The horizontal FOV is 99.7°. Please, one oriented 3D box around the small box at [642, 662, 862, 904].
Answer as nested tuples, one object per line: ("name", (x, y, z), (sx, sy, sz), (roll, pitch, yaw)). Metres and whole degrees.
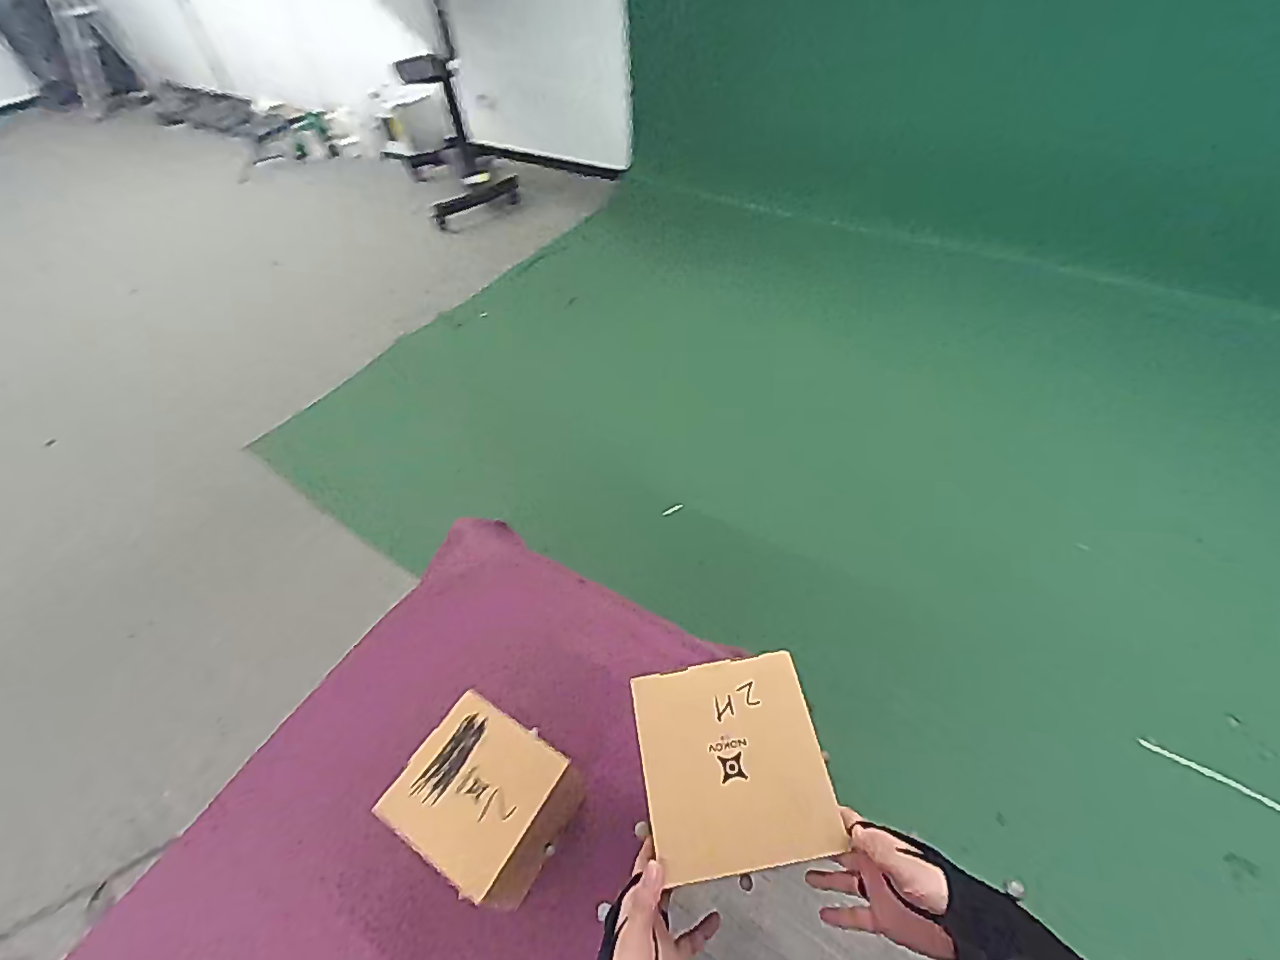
("small box", (0.099, 0.305, 0.548), (0.168, 0.176, 0.179), (-8, 54, 0))
